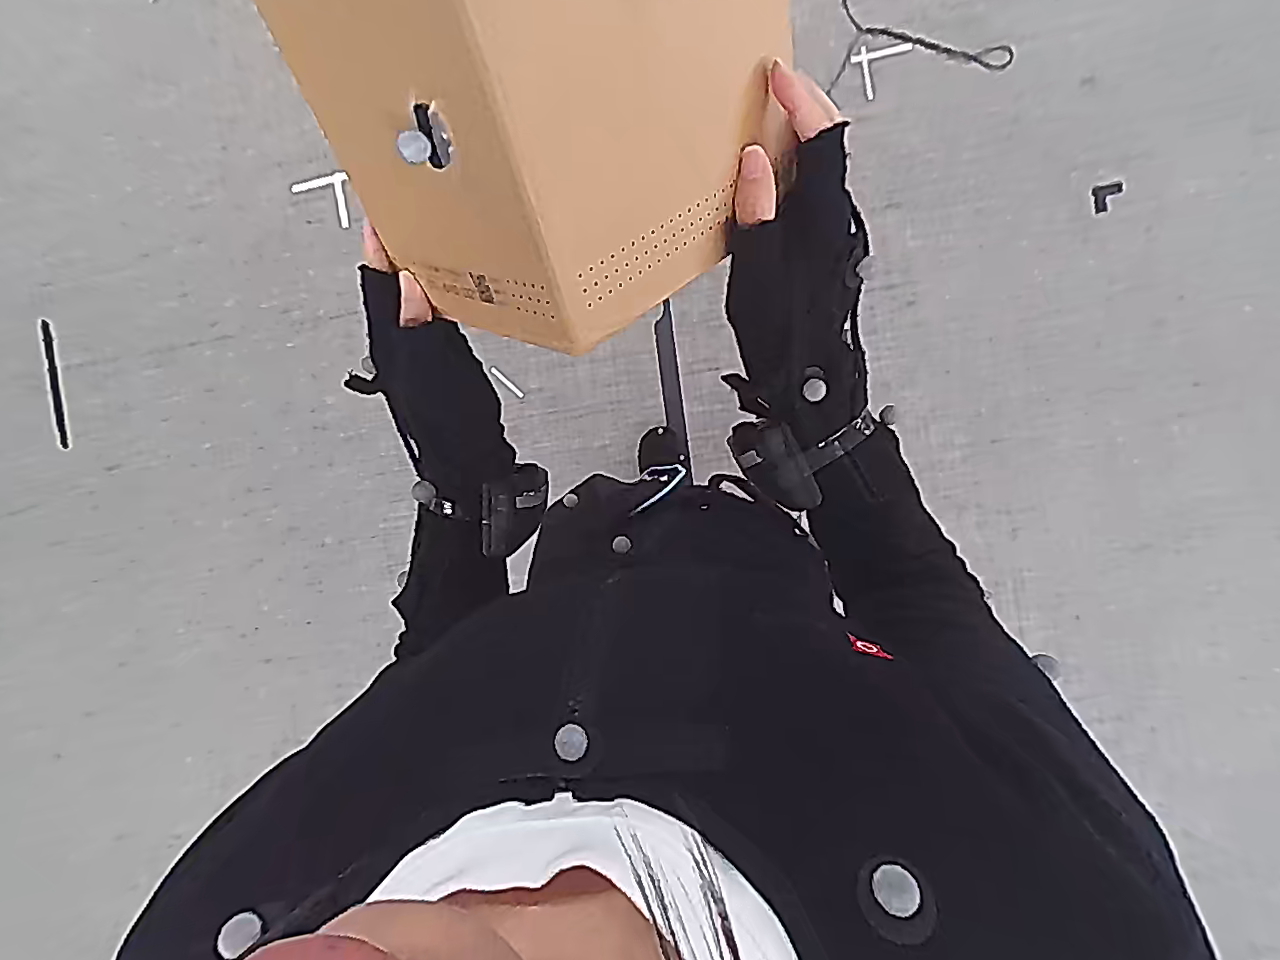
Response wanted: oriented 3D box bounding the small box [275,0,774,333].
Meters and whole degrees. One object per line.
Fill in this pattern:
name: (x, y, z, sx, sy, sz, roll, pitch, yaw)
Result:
small box: (-0.043, -0.199, 0.288, 0.179, 0.176, 0.168, -40, 45, -25)
